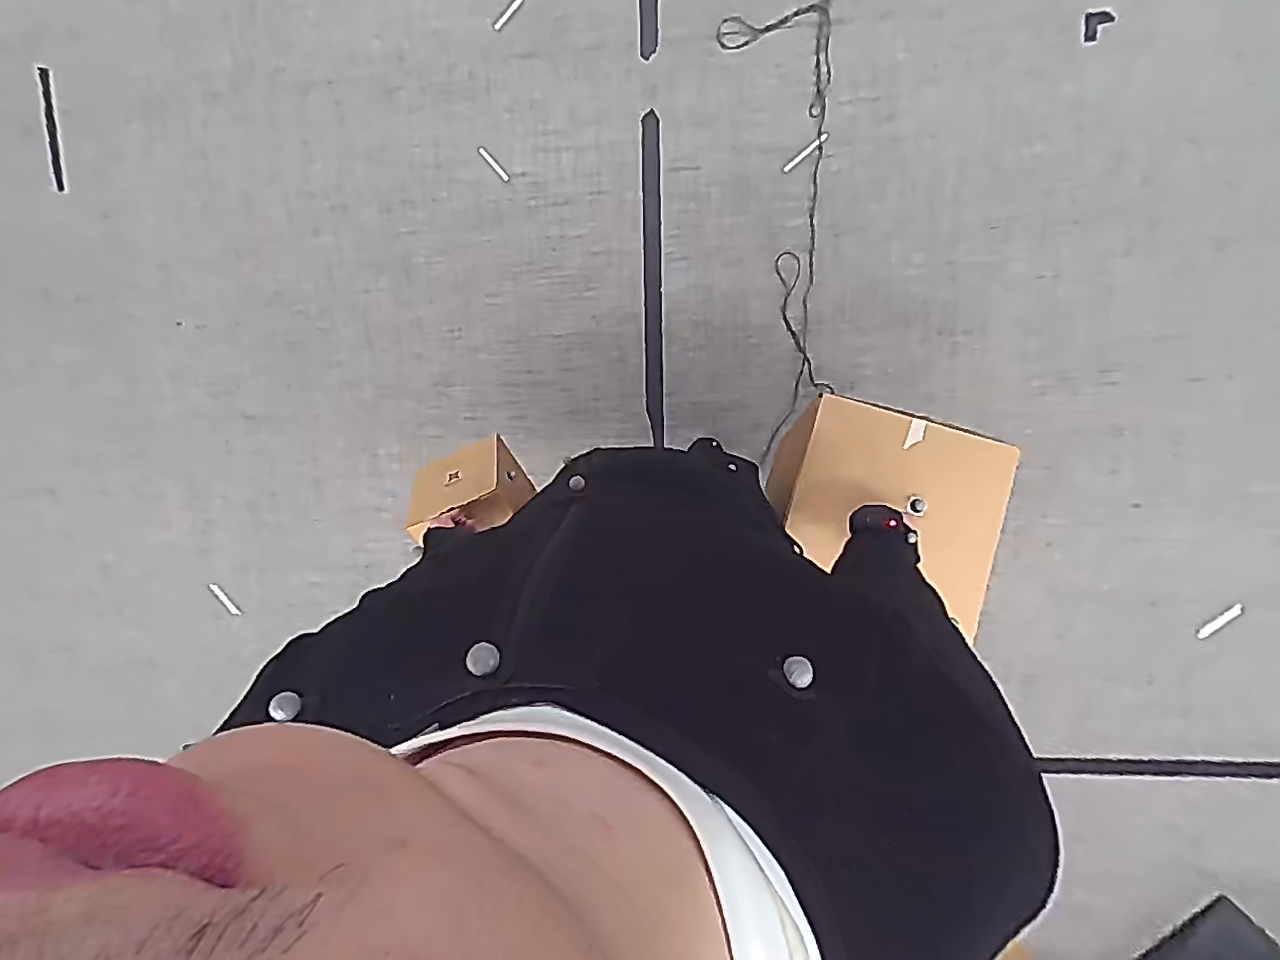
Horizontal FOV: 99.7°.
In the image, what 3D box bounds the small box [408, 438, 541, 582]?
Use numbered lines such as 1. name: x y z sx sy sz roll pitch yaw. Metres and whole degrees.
1. small box: -0.290 0.061 0.981 0.168 0.179 0.176 -23 129 3
